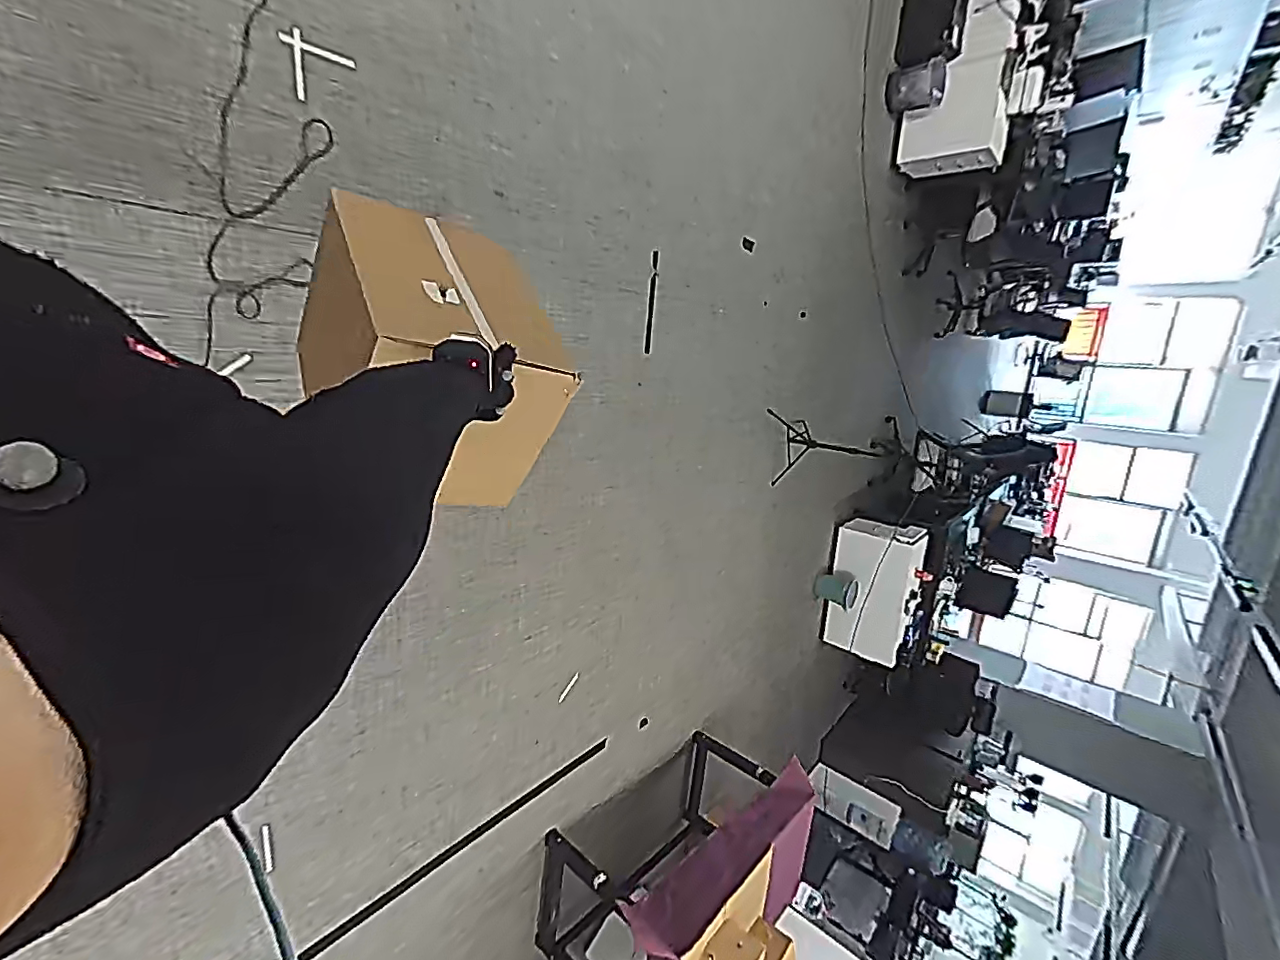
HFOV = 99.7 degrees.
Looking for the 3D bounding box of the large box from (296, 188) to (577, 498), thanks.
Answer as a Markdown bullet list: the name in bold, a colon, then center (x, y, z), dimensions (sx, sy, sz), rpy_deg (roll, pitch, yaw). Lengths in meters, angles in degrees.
- **large box**: center (-0.377, -0.217, 0.951), dimensions (0.320, 0.408, 0.320), rpy_deg (2, 137, -43)
